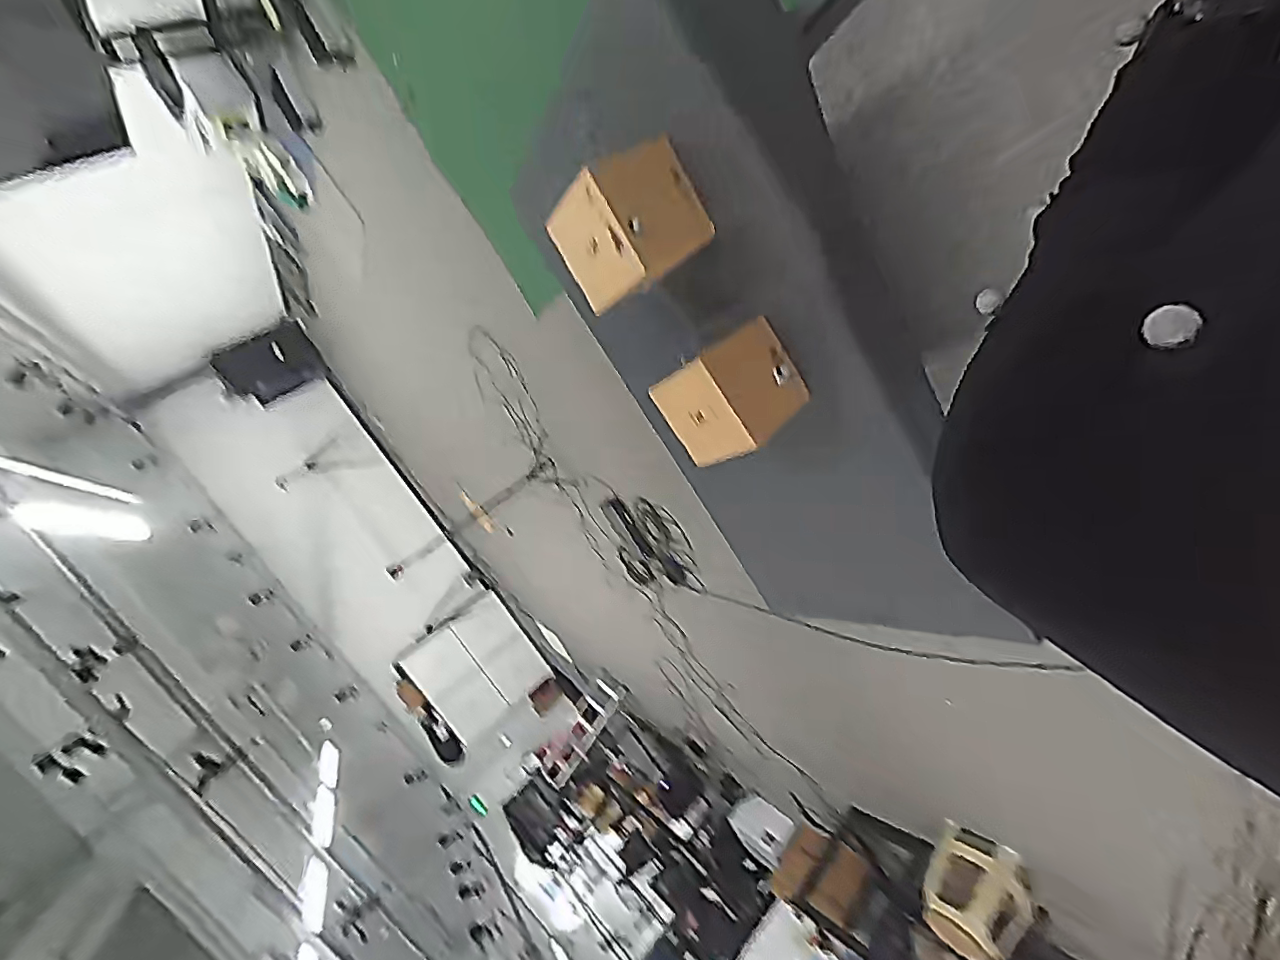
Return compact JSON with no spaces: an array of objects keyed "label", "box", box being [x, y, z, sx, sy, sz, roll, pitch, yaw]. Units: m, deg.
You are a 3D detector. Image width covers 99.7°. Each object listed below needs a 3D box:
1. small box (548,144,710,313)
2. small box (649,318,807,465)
[{"label":"small box","box":[-0.018,-0.410,0.895,0.168,0.176,0.179,57,153,-13]},{"label":"small box","box":[0.154,-0.152,0.952,0.168,0.176,0.179,54,153,-8]}]
